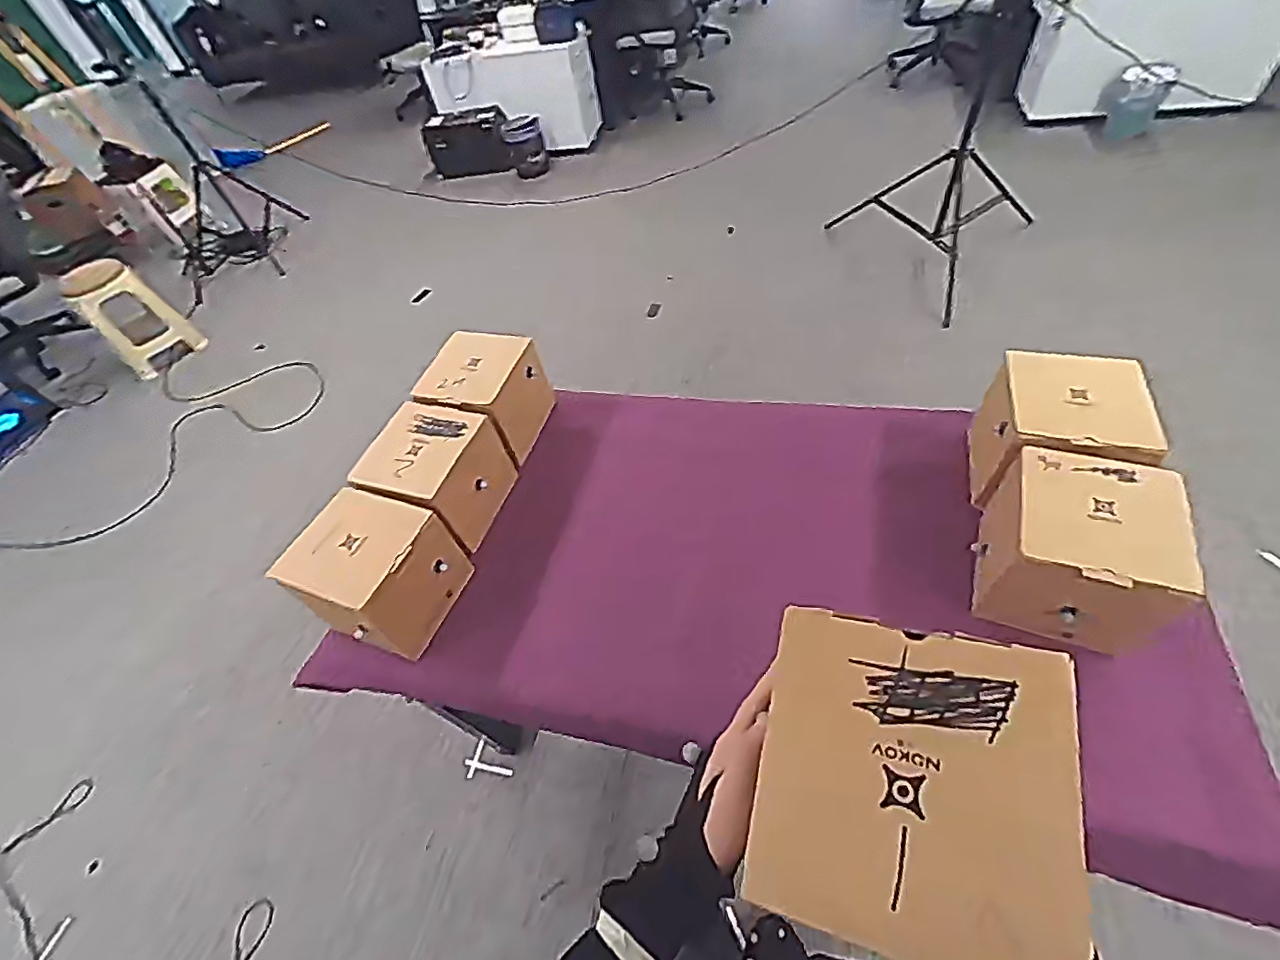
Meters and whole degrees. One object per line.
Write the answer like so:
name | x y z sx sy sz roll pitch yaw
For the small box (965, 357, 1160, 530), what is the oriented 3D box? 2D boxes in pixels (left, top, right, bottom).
small box | 0.597 -0.054 0.797 0.168 0.176 0.179 9 54 16

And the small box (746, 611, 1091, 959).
small box | 0.182 0.214 0.379 0.168 0.176 0.179 6 63 24

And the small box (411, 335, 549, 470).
small box | -0.288 -0.147 1.023 0.168 0.176 0.179 9 55 17
